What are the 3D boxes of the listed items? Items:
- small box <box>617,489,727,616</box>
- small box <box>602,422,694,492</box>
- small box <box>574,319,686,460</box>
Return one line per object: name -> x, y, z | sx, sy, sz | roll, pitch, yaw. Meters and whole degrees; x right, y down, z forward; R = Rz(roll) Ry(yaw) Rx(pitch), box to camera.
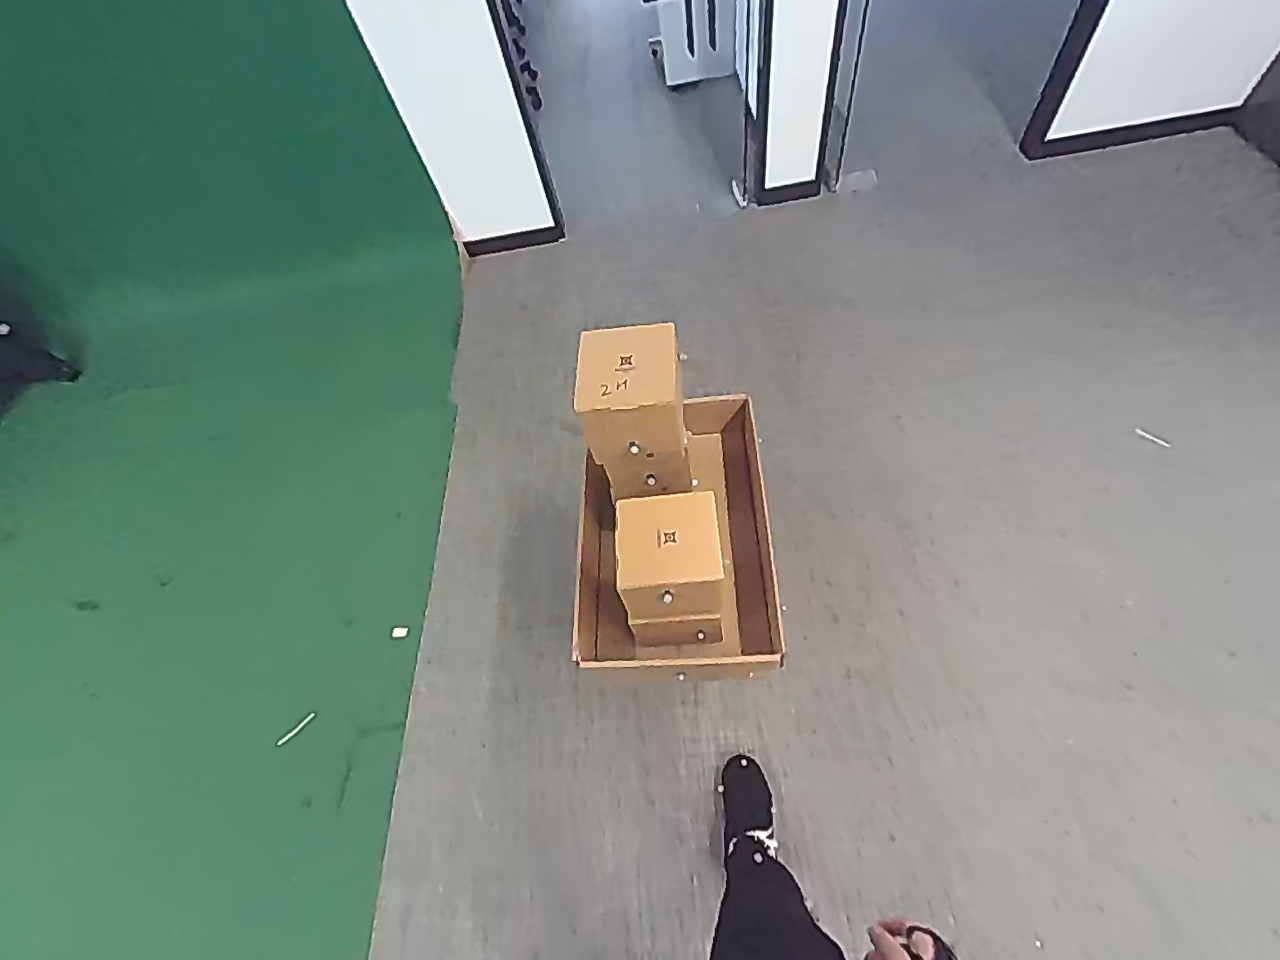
small box -> 0.060, 0.134, 0.964 | 0.179, 0.176, 0.168 | -7, 58, 7
small box -> 0.013, -0.089, 1.102 | 0.168, 0.176, 0.179 | -10, 60, 4
small box -> -0.010, -0.155, 0.951 | 0.168, 0.176, 0.179 | -4, 61, 9
